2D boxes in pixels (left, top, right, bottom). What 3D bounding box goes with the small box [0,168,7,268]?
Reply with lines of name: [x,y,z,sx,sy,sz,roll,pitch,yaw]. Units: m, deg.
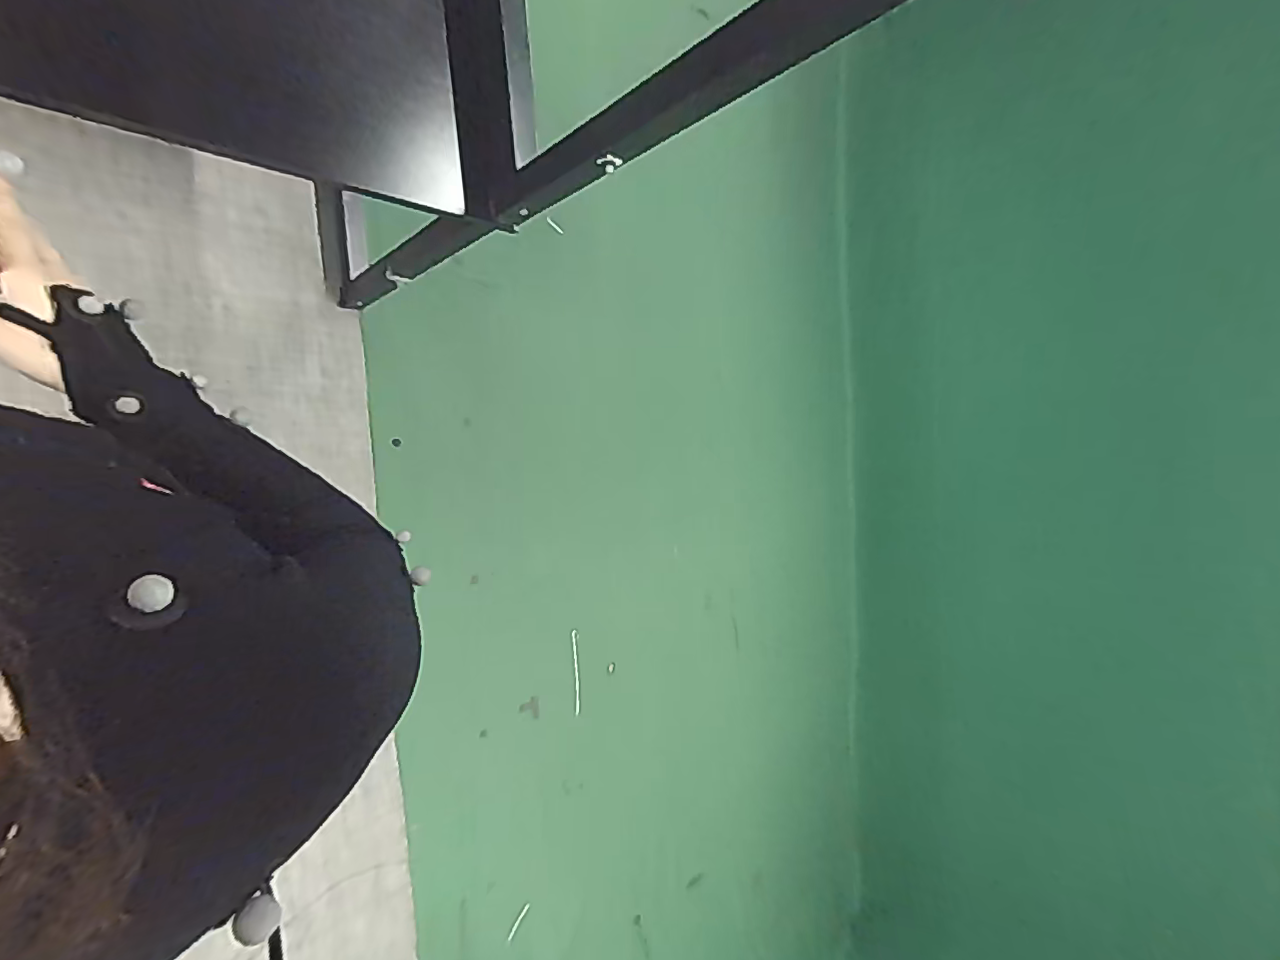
small box: [-0.452,-0.211,0.262,0.179,0.176,0.168,-6,94,-48]
